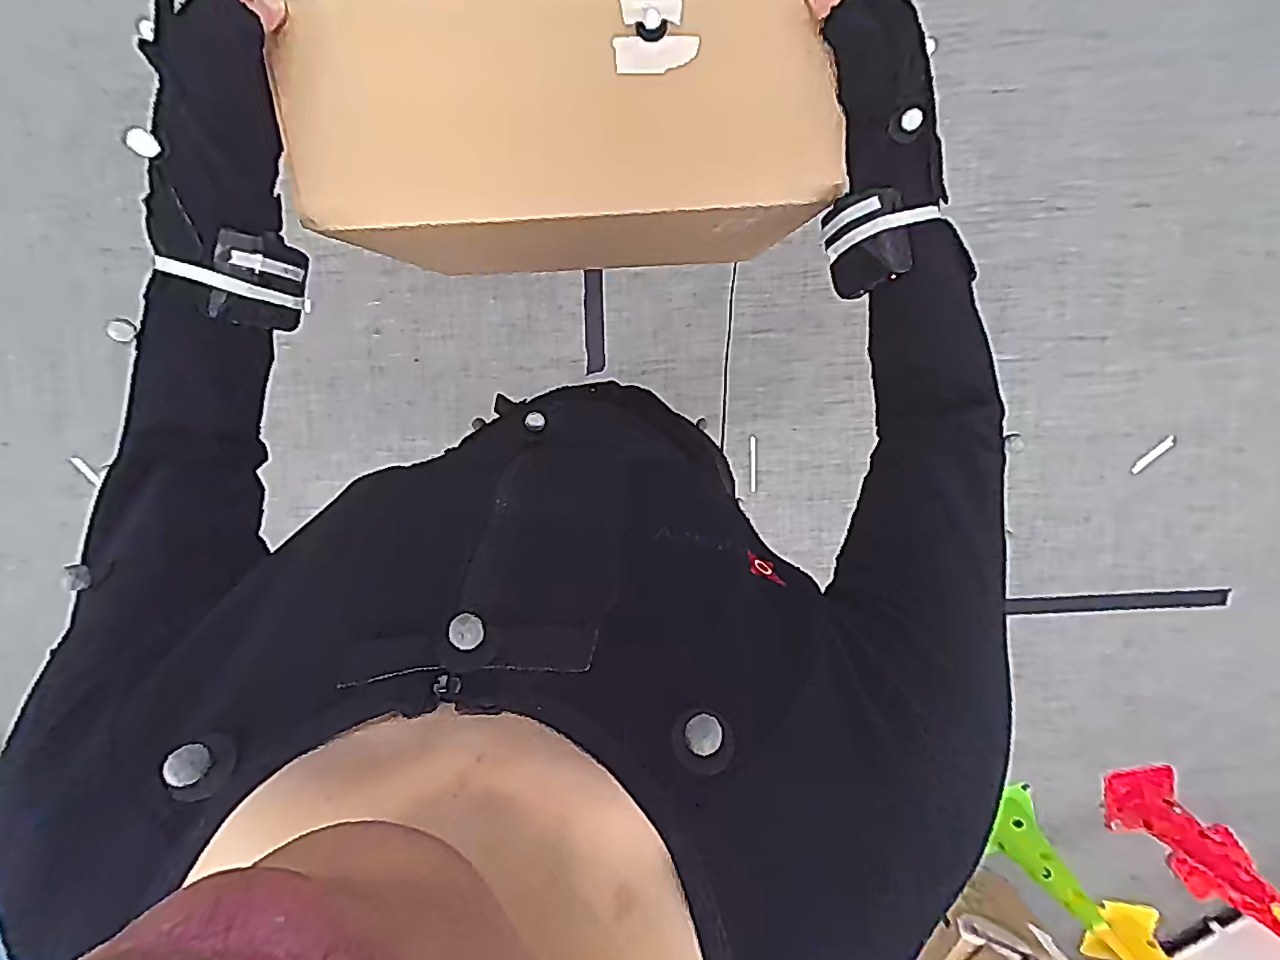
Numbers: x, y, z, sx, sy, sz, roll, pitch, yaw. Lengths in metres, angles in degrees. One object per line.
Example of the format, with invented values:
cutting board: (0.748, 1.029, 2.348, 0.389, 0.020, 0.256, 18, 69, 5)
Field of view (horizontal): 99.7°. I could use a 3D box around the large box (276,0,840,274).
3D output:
large box: (-0.061, -0.393, 0.520, 0.408, 0.320, 0.320, -3, 105, 0)
